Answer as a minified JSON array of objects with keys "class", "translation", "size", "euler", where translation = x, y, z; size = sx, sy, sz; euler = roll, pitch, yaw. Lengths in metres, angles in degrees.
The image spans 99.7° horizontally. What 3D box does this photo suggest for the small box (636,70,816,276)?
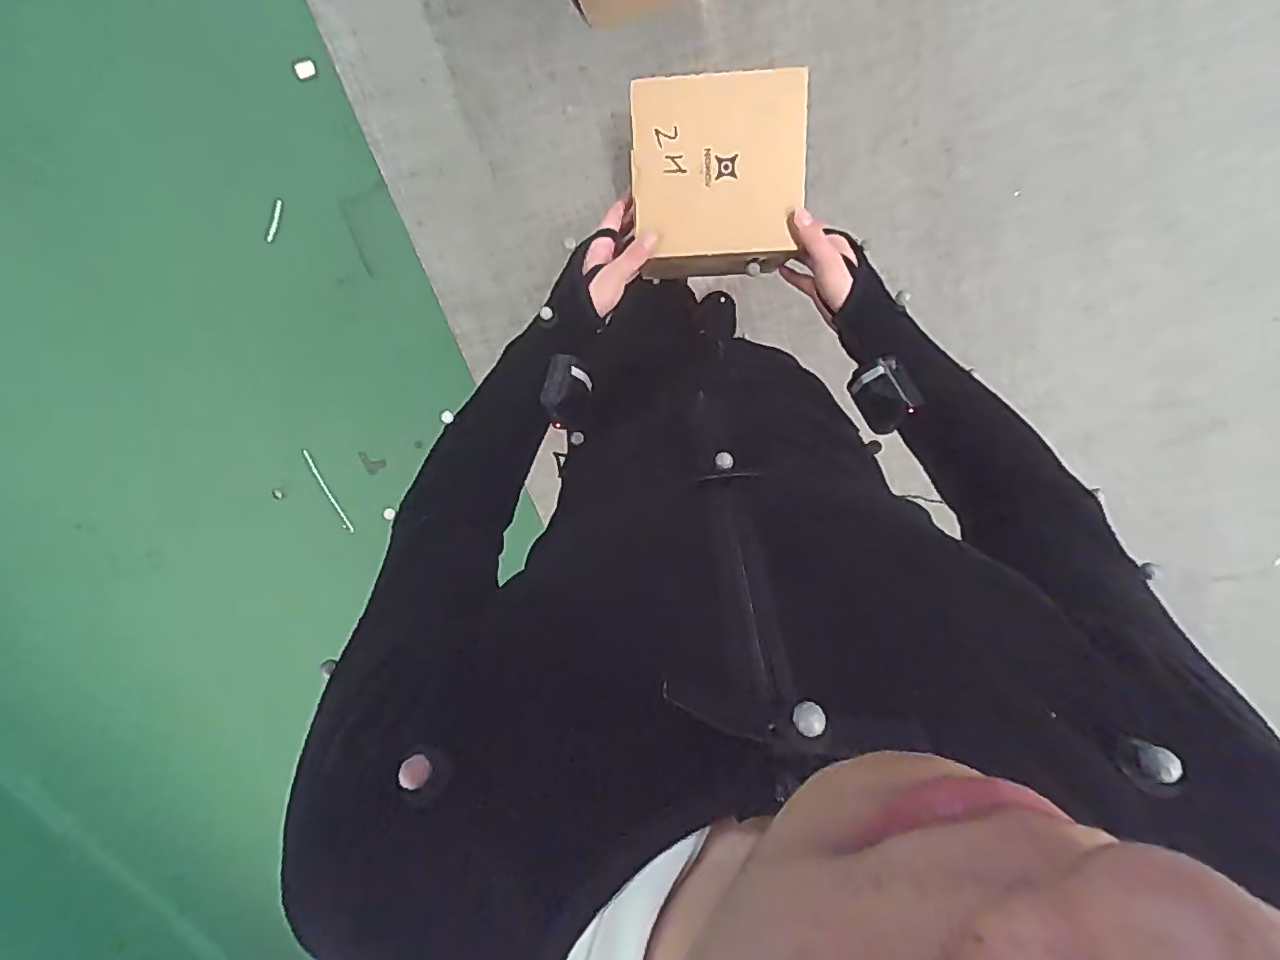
[{"class":"small box","translation":[0.088,-0.331,0.616],"size":[0.179,0.176,0.168],"euler":[-1,103,4]}]
